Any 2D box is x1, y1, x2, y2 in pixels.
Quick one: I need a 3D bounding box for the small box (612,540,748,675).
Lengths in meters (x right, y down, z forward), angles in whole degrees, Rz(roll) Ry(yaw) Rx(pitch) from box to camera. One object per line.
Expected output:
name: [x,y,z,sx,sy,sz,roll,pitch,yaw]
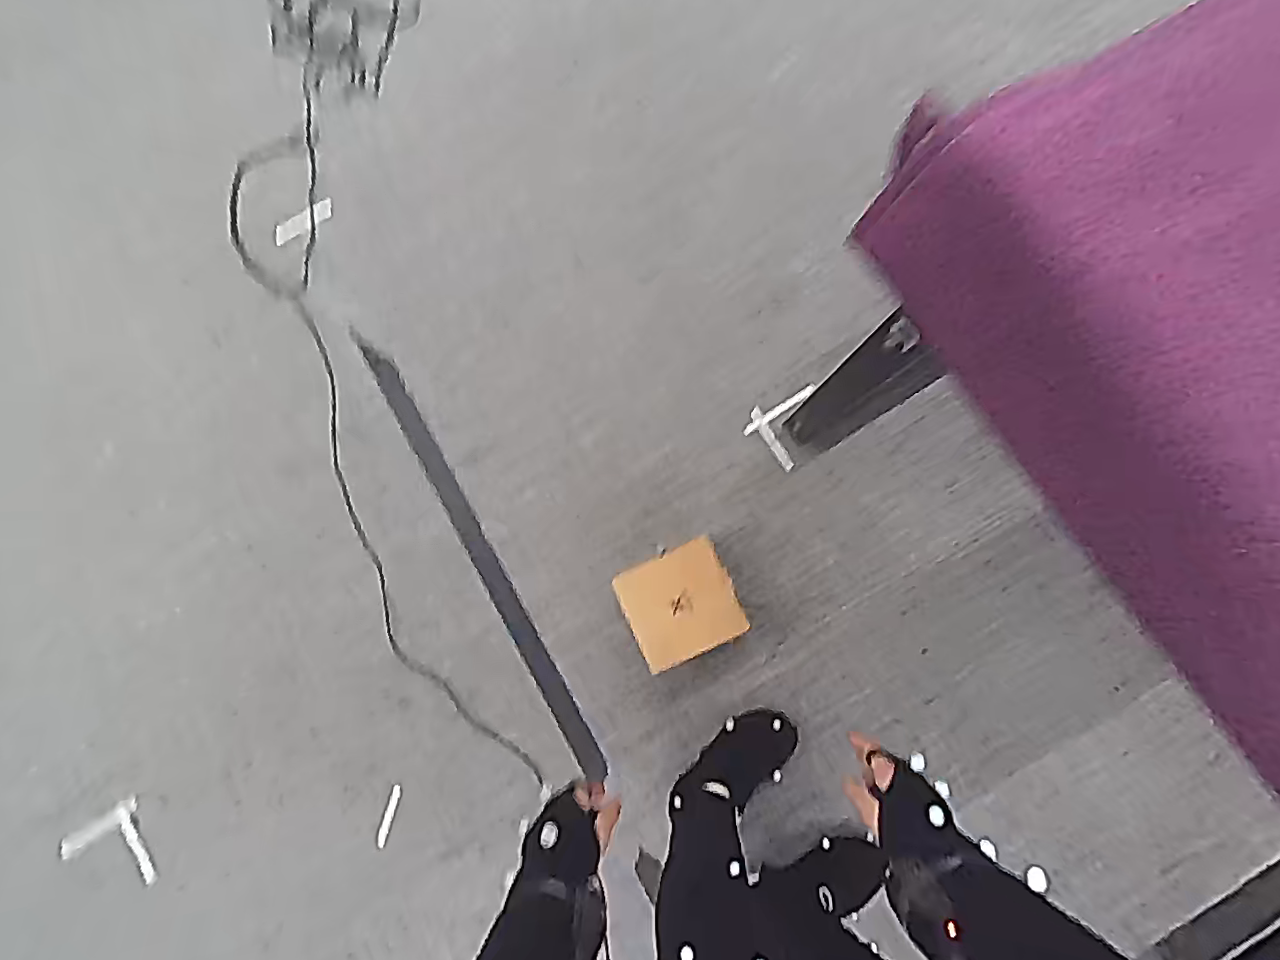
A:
small box: [0.070,0.216,0.954,0.179,0.176,0.168,-26,83,0]
